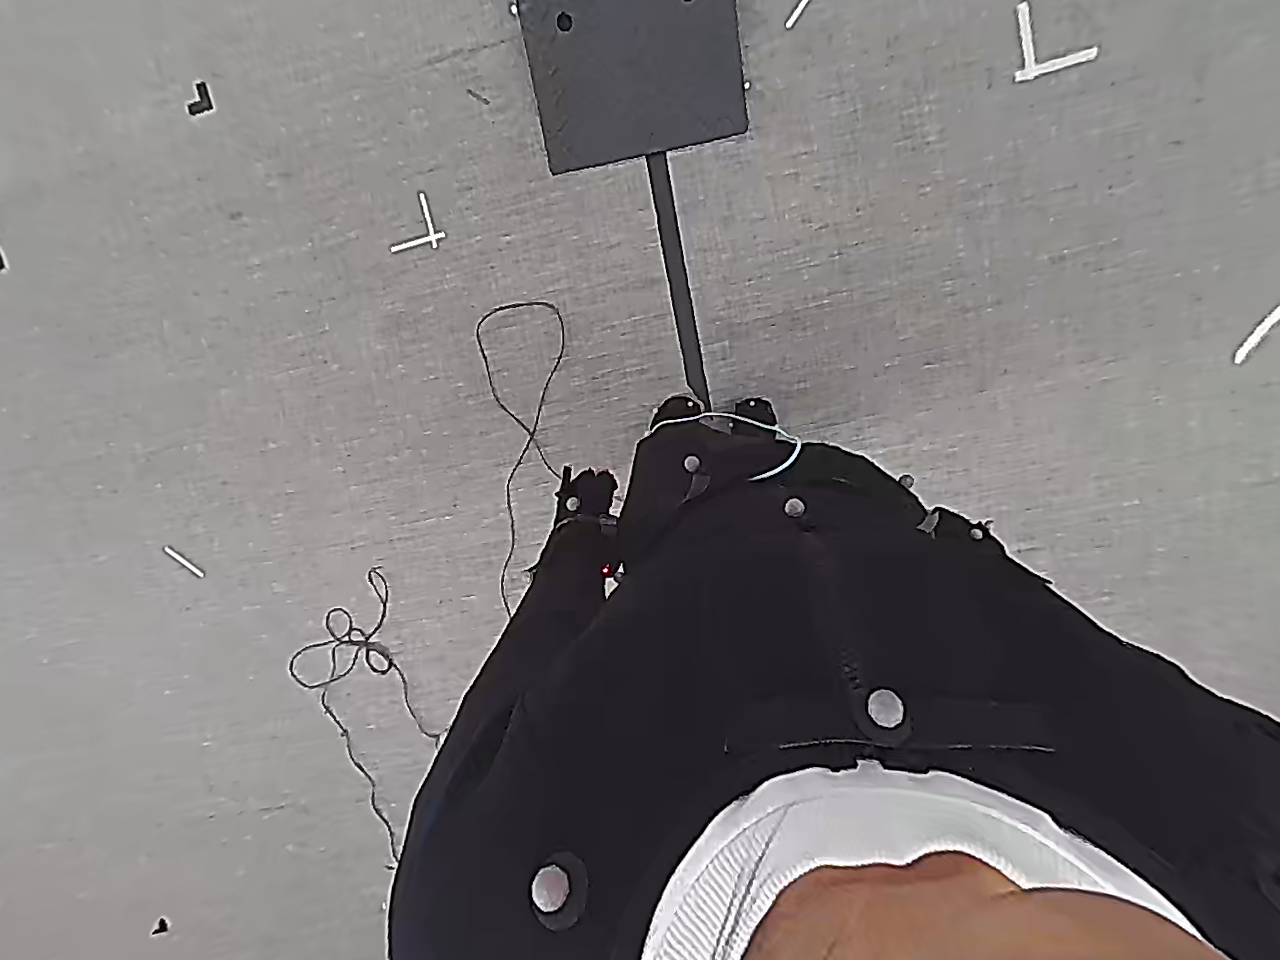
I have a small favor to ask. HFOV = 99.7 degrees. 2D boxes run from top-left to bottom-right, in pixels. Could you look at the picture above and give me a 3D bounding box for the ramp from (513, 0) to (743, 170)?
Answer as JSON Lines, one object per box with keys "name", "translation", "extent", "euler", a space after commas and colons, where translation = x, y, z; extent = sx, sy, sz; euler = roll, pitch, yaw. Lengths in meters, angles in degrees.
{"name": "ramp", "translation": [-0.076, -1.267, 1.155], "extent": [0.509, 0.206, 0.991], "euler": [-10, 99, 6]}
